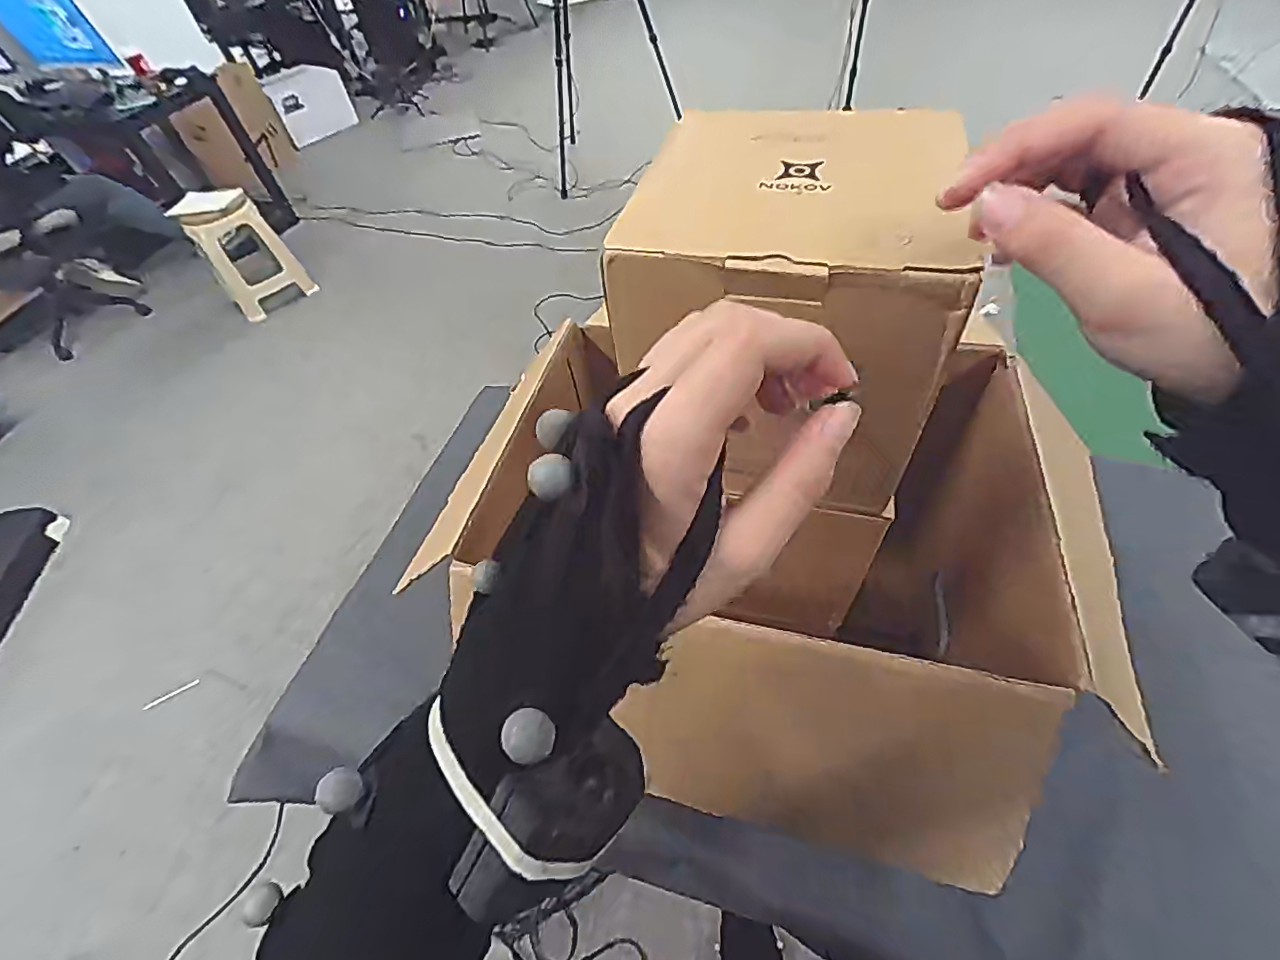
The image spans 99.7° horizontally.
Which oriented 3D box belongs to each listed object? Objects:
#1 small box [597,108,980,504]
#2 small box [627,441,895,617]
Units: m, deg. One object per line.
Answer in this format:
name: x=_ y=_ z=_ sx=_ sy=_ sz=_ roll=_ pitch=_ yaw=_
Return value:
small box: x=0.088 y=-0.107 z=0.341 sx=0.168 sy=0.176 sz=0.179 roll=10 pitch=53 yaw=14
small box: x=0.102 y=-0.001 z=0.462 sx=0.179 sy=0.176 sz=0.168 roll=9 pitch=53 yaw=14
